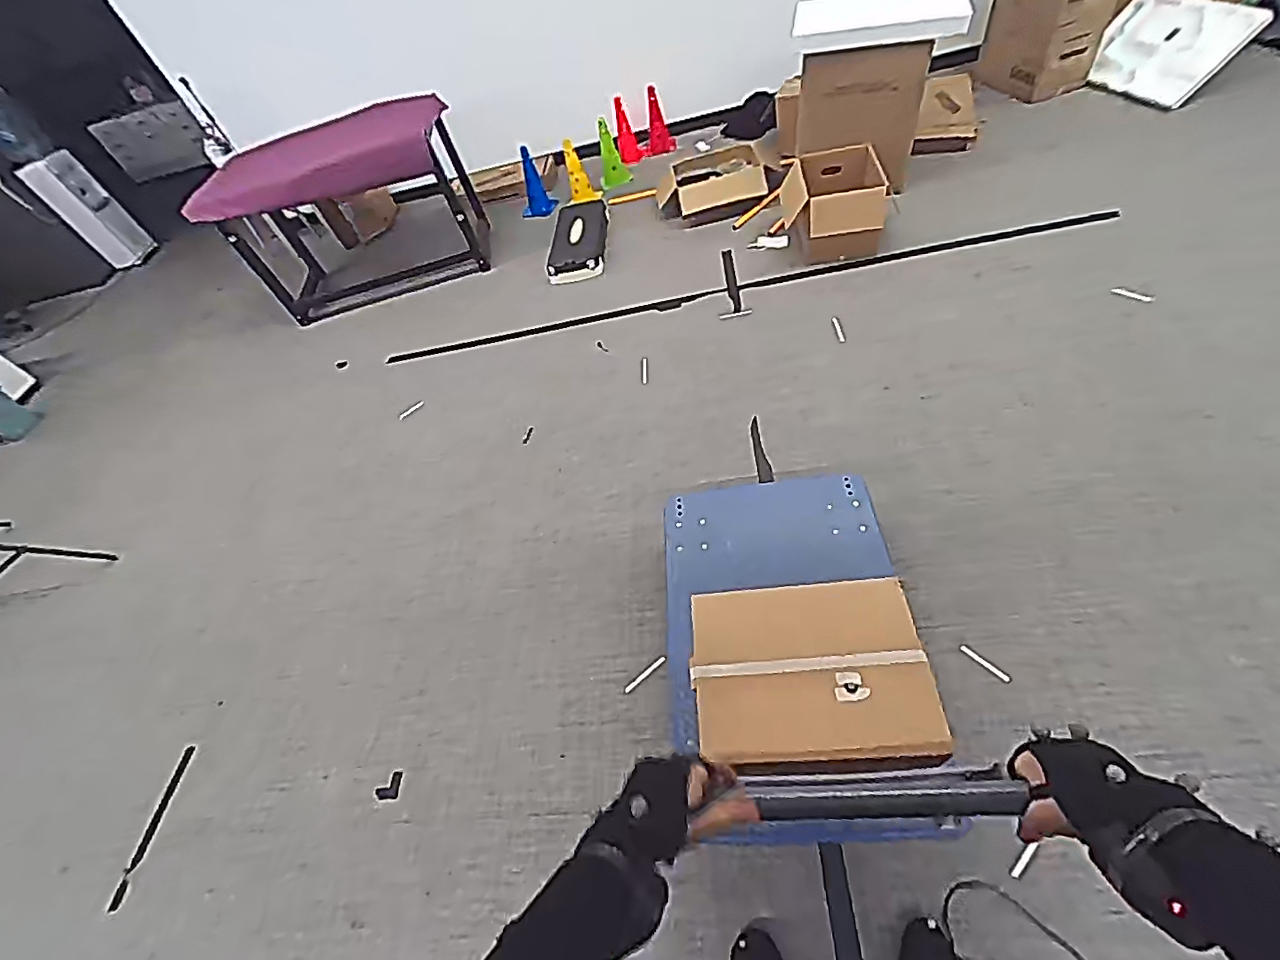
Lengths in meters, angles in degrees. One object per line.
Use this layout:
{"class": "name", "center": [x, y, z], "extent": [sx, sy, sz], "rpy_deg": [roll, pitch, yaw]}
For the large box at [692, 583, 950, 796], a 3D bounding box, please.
{"class": "large box", "center": [0.330, 0.437, 1.100], "extent": [0.408, 0.320, 0.320], "rpy_deg": [-7, 52, 8]}
